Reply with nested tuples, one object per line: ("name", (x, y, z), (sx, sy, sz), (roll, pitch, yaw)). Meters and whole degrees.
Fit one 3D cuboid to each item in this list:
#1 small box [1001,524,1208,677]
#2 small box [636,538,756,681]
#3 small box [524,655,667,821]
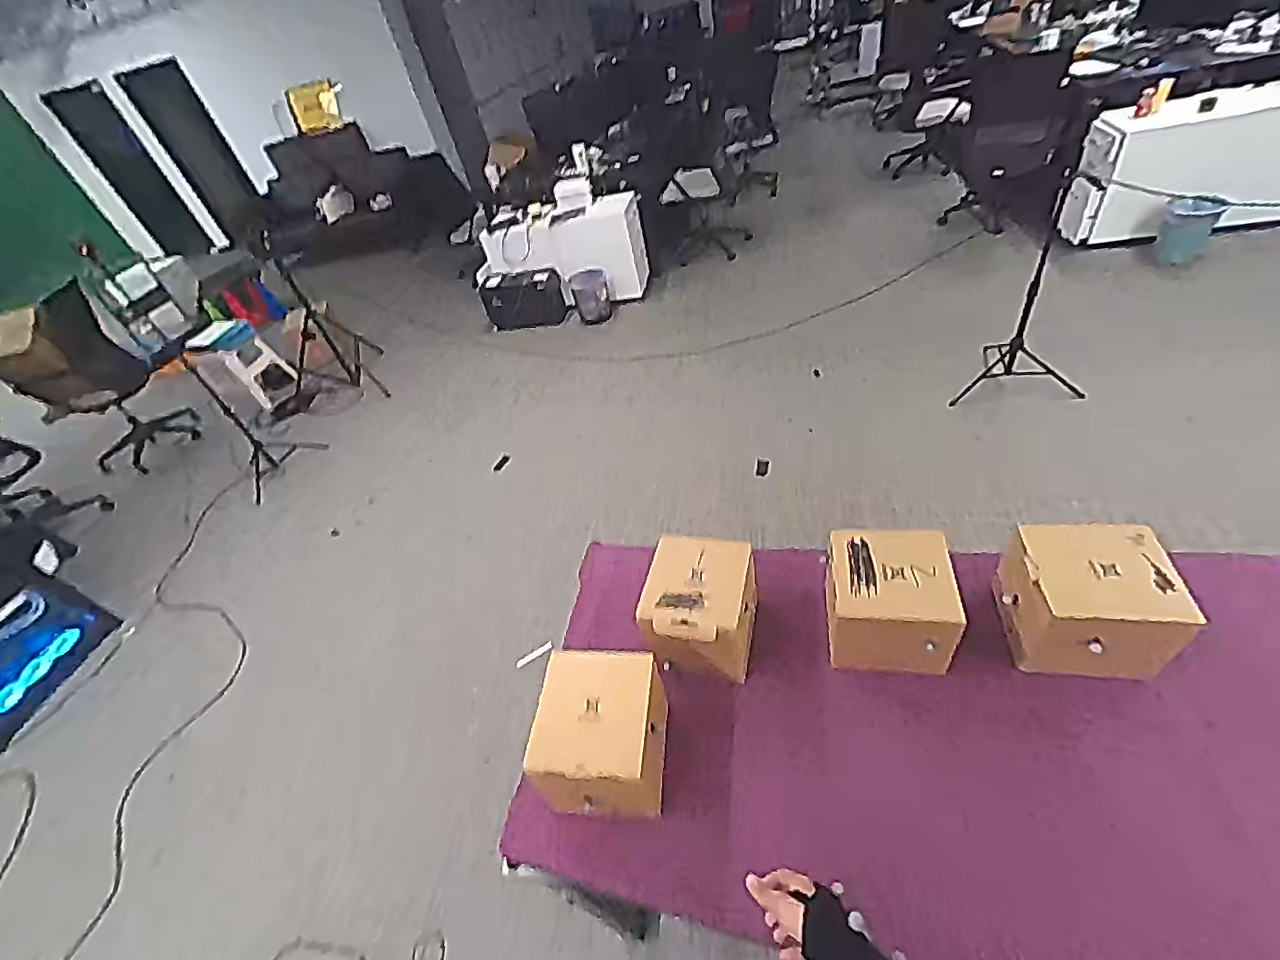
("small box", (0.673, 0.182, 0.817), (0.179, 0.176, 0.168), (-2, 46, 16))
("small box", (0.108, 0.225, 0.943), (0.168, 0.176, 0.179), (3, 45, 19))
("small box", (-0.054, 0.386, 0.815), (0.168, 0.176, 0.179), (-3, 44, 11))
